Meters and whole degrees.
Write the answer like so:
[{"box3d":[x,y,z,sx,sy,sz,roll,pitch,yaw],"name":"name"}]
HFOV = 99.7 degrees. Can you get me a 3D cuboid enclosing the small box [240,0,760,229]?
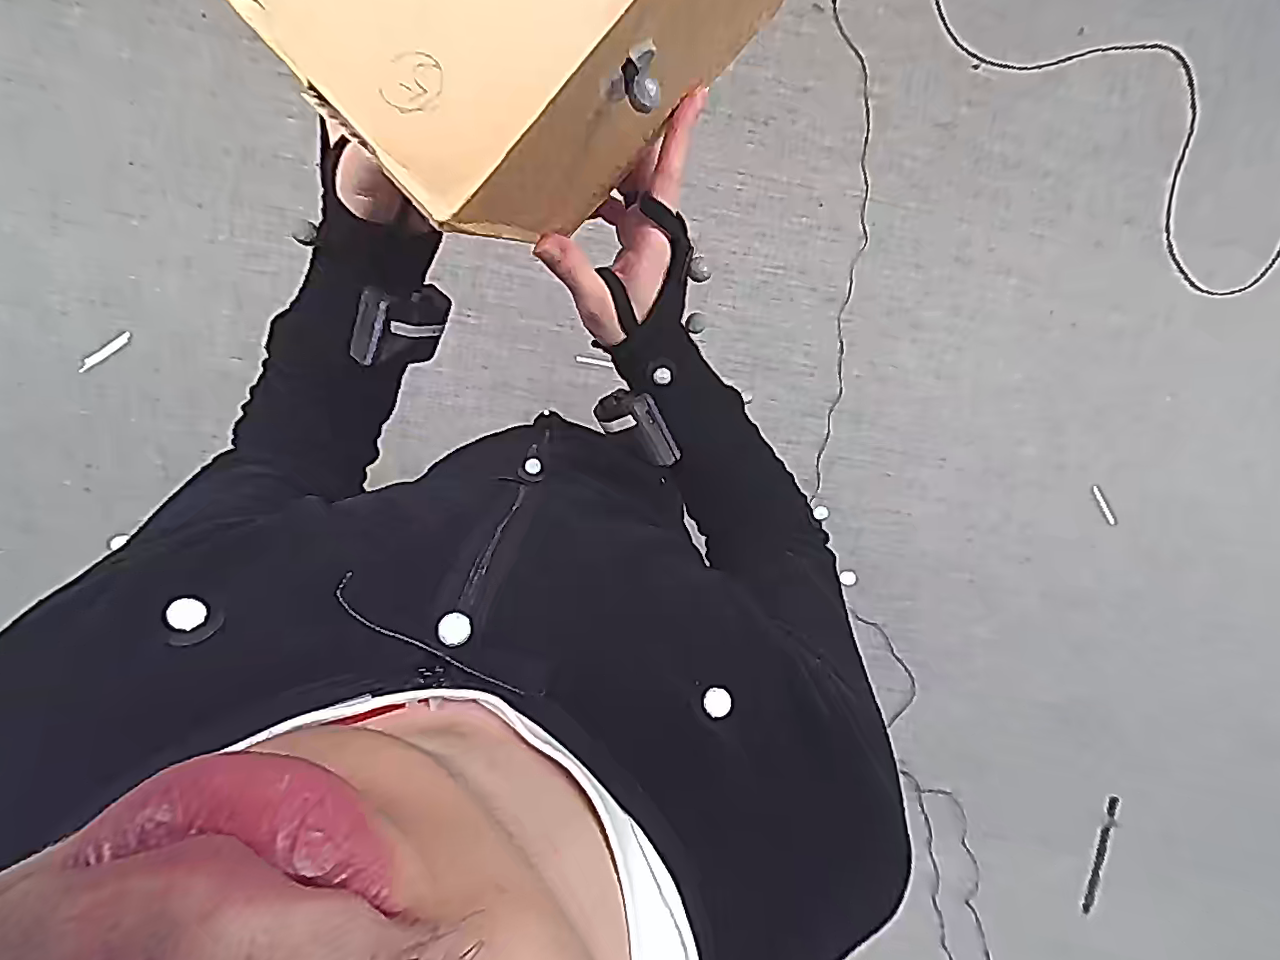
[{"box3d":[-0.053,-0.231,0.227,0.179,0.176,0.168,-39,103,19],"name":"small box"}]
